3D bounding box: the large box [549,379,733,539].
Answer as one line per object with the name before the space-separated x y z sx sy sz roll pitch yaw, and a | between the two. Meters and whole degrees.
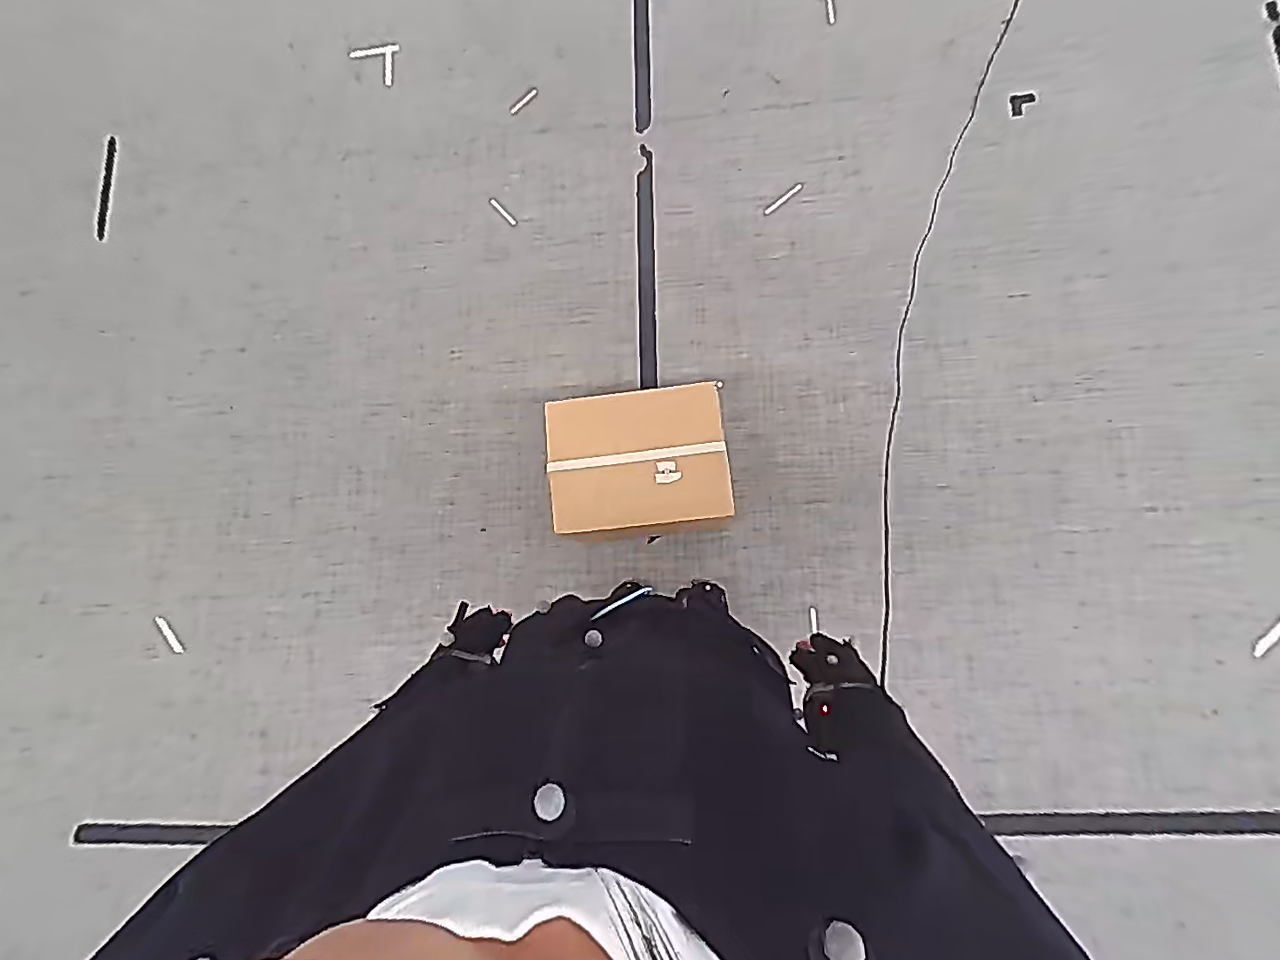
large box | 0.008 -0.035 1.383 0.408 0.320 0.320 -6 80 4
